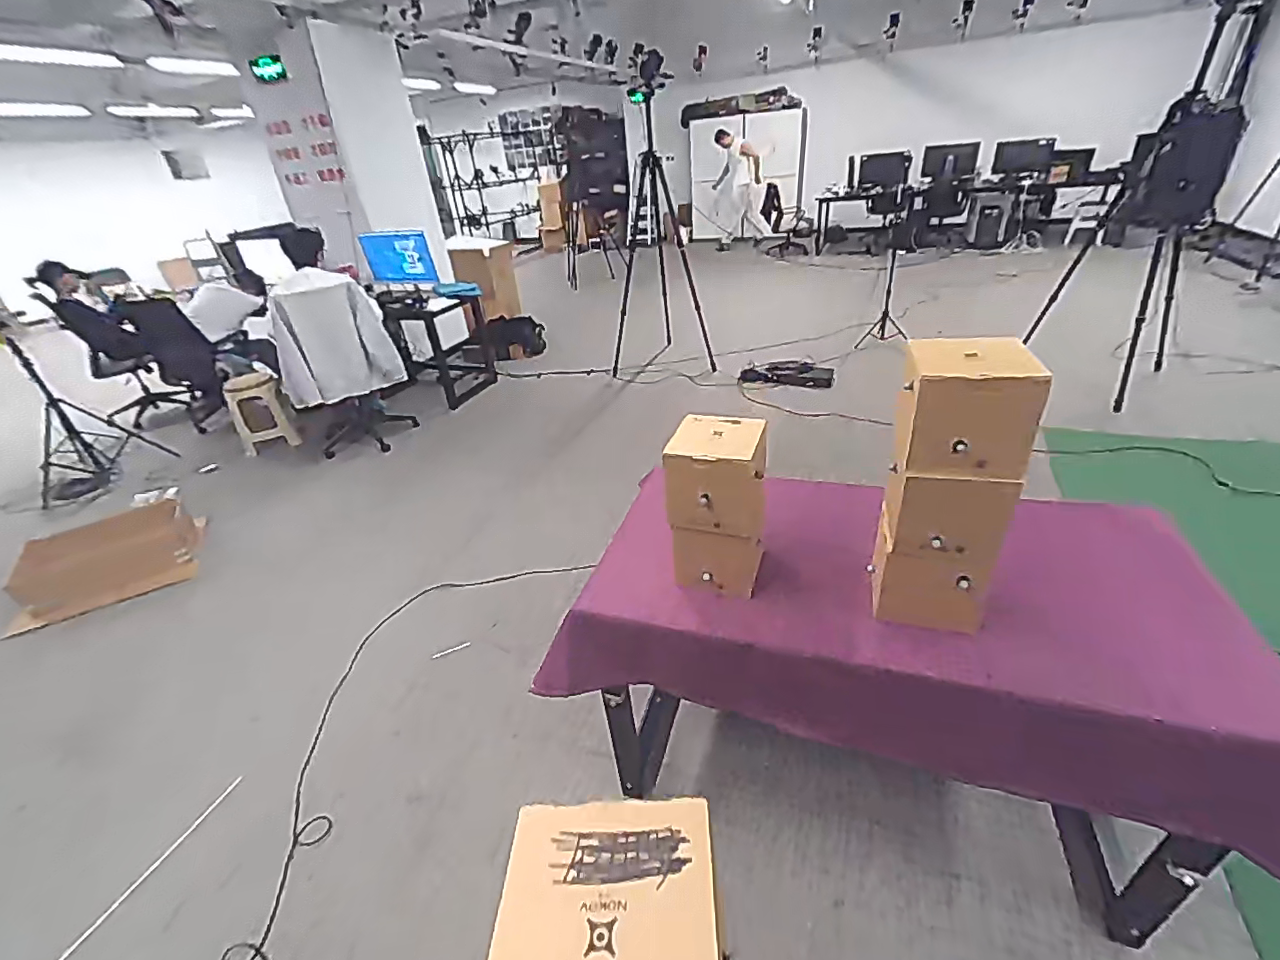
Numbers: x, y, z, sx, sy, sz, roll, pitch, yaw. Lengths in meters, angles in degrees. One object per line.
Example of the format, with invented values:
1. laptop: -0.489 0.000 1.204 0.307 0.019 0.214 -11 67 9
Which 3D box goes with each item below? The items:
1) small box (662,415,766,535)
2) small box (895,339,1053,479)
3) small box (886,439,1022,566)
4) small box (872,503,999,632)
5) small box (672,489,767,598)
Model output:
1. small box: 0.153 -0.012 1.072 0.168 0.176 0.179 7 35 20
2. small box: 0.516 -0.118 0.868 0.168 0.176 0.179 3 33 16
3. small box: 0.533 0.024 0.946 0.168 0.176 0.179 4 33 18
4. small box: 0.548 0.164 1.028 0.179 0.176 0.168 5 33 19
5. small box: 0.174 0.124 1.162 0.168 0.176 0.179 6 34 20
